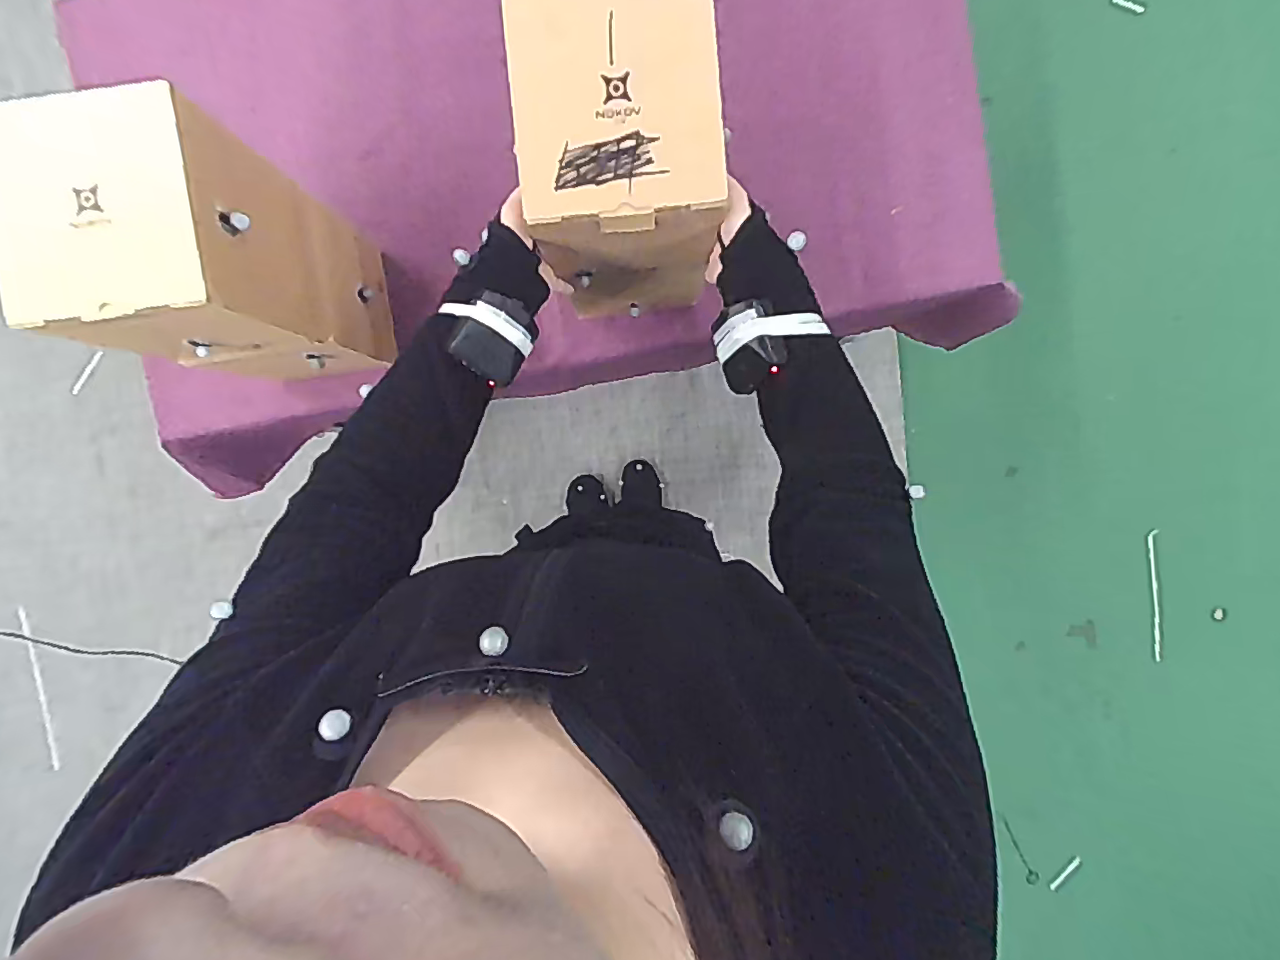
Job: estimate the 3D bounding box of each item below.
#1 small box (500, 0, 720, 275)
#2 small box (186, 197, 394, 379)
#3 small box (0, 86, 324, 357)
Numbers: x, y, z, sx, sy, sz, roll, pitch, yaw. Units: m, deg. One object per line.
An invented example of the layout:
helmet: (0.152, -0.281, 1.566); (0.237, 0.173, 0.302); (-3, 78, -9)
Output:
small box: (-0.020, -0.302, 0.503); (0.168, 0.176, 0.179); (-5, 92, 1)
small box: (-0.432, -0.227, 0.680); (0.179, 0.176, 0.168); (-8, 93, 1)
small box: (-0.438, -0.226, 0.517); (0.168, 0.176, 0.179); (-7, 94, 1)
